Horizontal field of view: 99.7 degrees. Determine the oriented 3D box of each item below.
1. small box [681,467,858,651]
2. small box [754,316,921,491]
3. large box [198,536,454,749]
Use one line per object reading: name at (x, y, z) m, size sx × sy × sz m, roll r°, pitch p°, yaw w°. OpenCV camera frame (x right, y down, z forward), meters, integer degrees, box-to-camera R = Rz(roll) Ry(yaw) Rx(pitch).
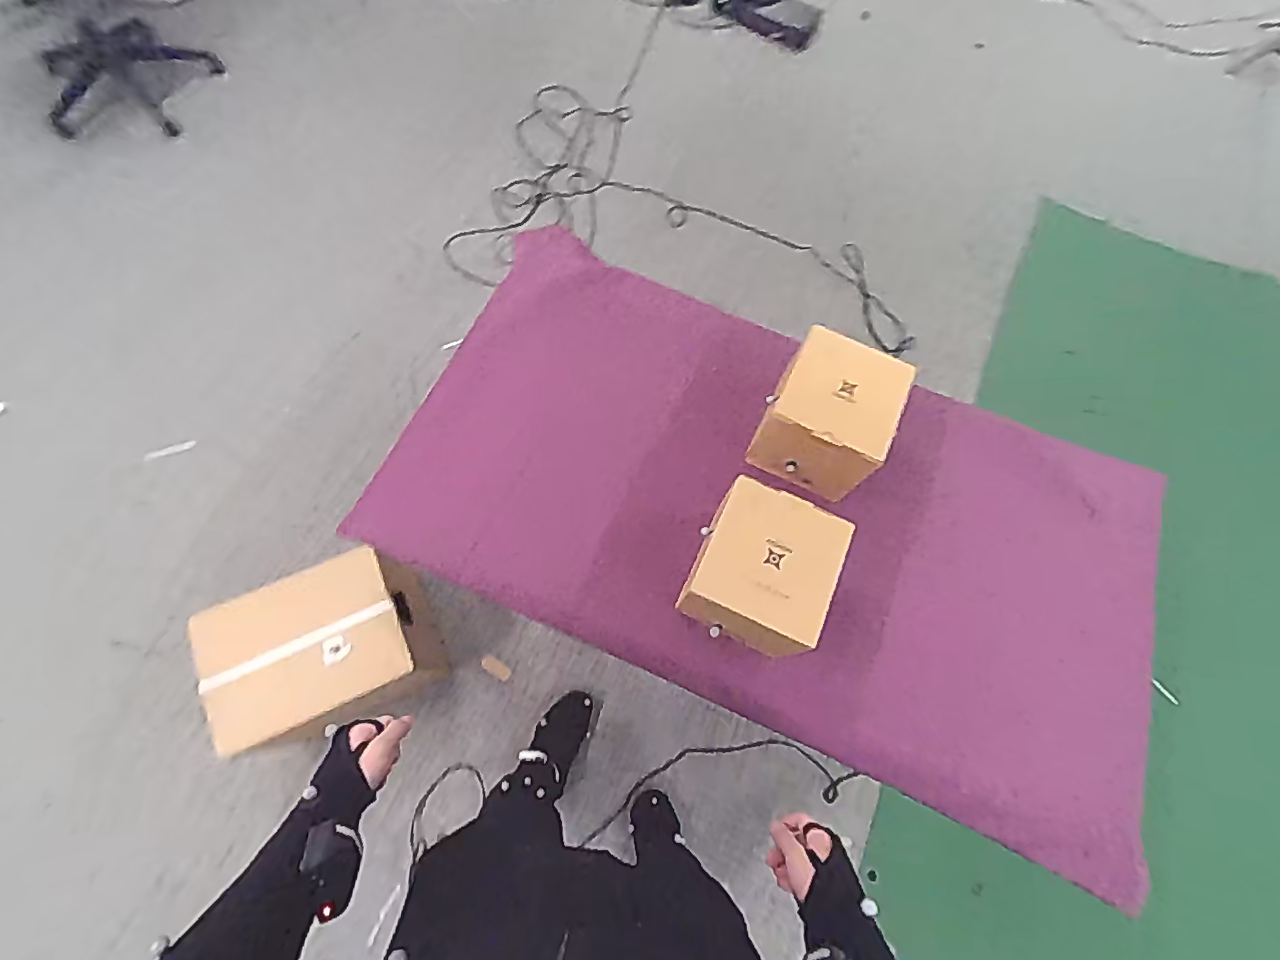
small box at (0.166, 0.116, 0.745) m, size 0.168 × 0.176 × 0.179 m, roll 25°, pitch 70°, yaw 7°
small box at (0.293, -0.110, 0.837) m, size 0.168 × 0.176 × 0.179 m, roll 26°, pitch 72°, yaw 6°
large box at (-0.727, 0.390, 1.306) m, size 0.408 × 0.320 × 0.320 m, roll -23°, pitch 74°, yaw -12°
